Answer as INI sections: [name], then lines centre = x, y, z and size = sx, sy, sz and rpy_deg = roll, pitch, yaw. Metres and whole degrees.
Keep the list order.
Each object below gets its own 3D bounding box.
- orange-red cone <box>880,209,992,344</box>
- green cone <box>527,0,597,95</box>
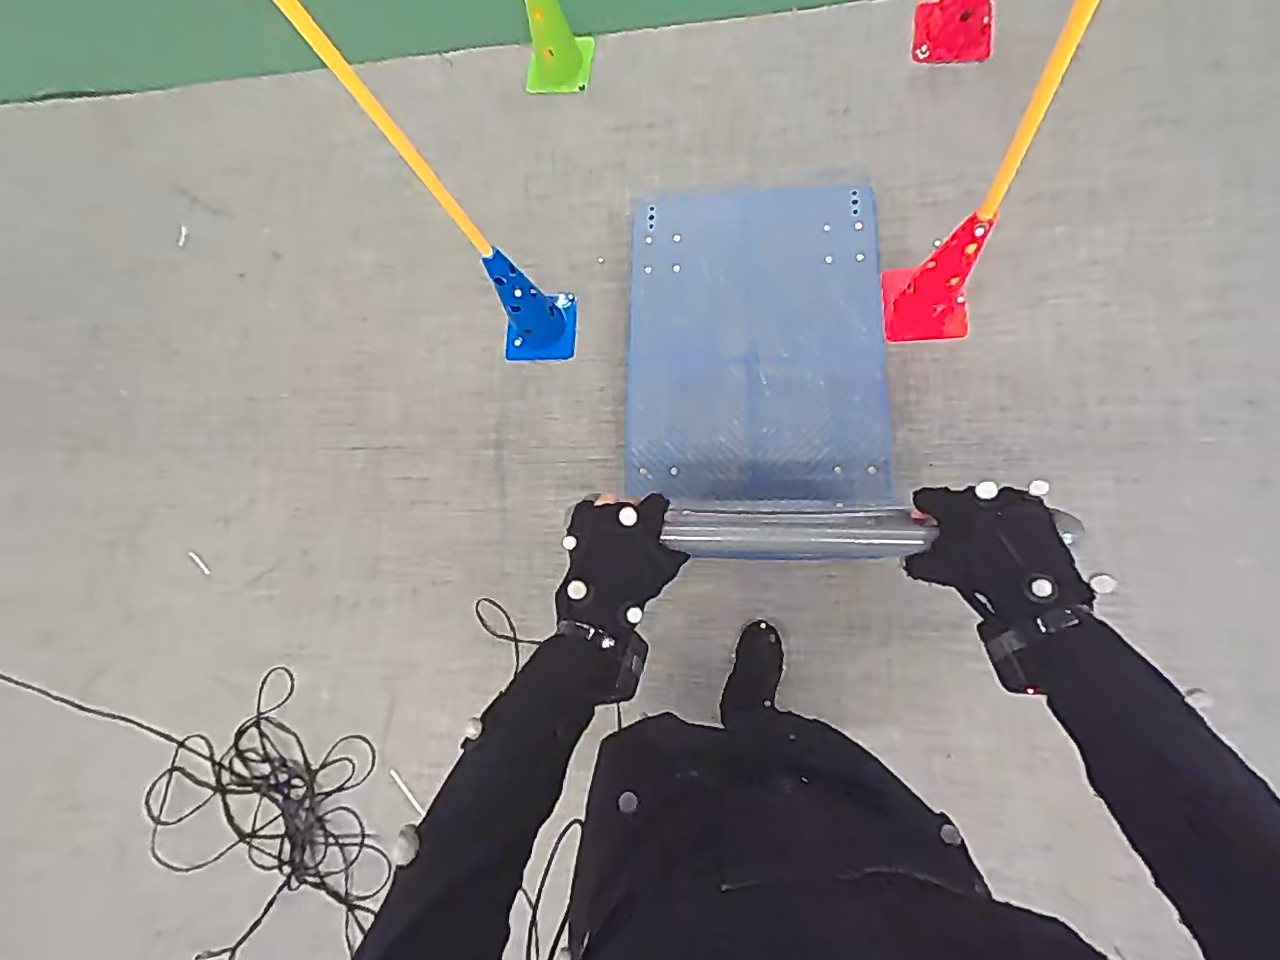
[orange-red cone]
centre = 0.692, -0.476, 1.219
size = 0.199, 0.360, 0.198
rpy_deg = 0, 79, 10
[green cone]
centre = -0.268, -1.328, 1.524
size = 0.202, 0.368, 0.200
rpy_deg = 5, 80, 10
